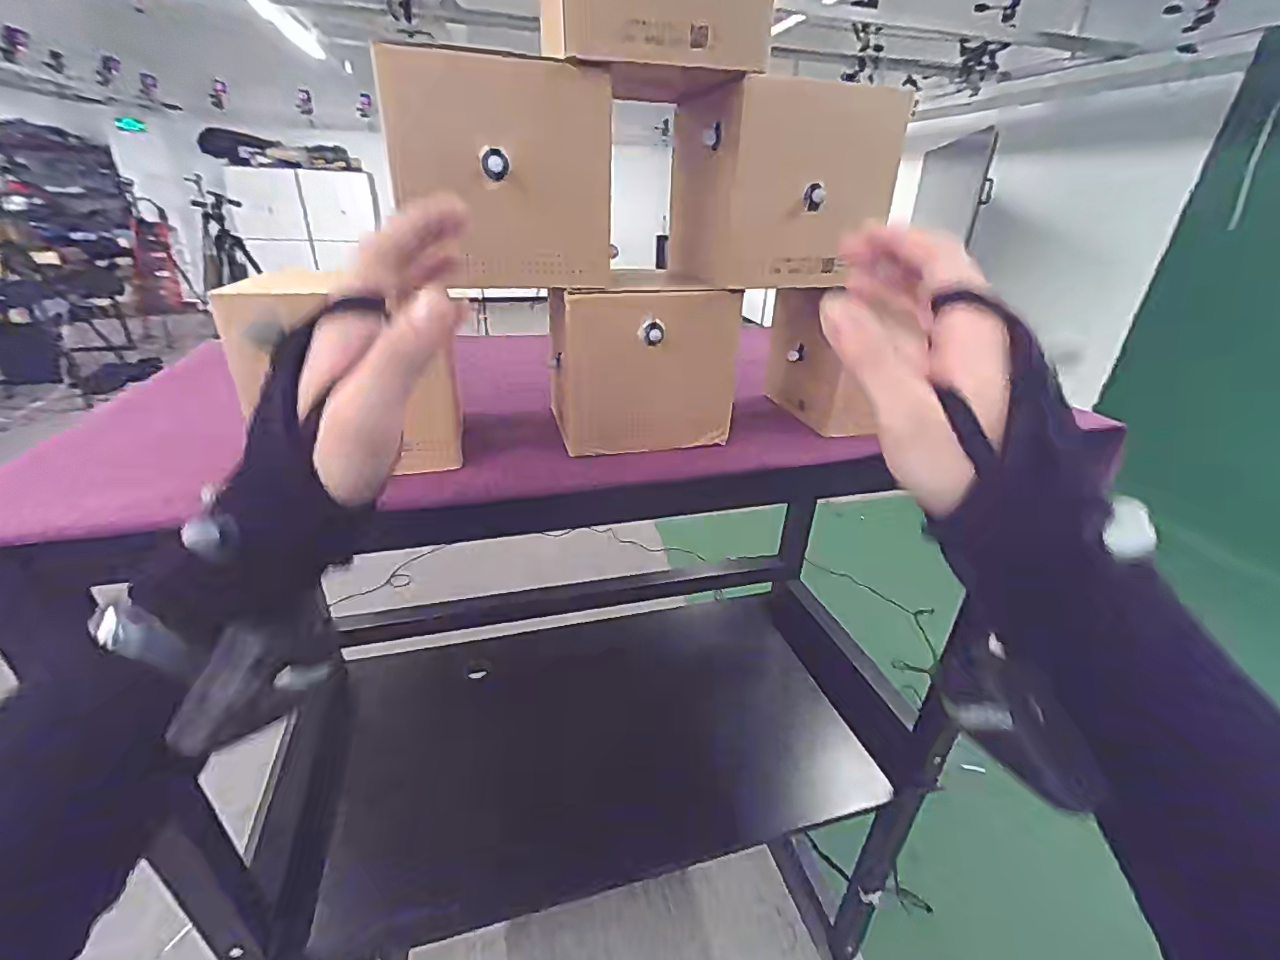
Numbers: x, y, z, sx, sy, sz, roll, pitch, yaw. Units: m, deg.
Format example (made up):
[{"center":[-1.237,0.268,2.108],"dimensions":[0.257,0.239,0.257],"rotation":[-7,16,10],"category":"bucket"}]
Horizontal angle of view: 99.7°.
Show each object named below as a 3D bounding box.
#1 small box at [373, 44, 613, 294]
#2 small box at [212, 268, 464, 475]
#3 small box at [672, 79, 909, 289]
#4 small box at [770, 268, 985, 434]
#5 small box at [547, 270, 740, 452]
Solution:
[{"center":[-0.129,-0.274,0.503],"dimensions":[0.179,0.176,0.168],"rotation":[-7,28,-15],"category":"small box"},{"center":[-0.269,-0.110,0.533],"dimensions":[0.168,0.176,0.179],"rotation":[-7,27,-15],"category":"small box"},{"center":[0.137,-0.296,0.564],"dimensions":[0.168,0.176,0.179],"rotation":[-7,28,-15],"category":"small box"},{"center":[0.276,-0.164,0.674],"dimensions":[0.179,0.176,0.168],"rotation":[-7,29,-14],"category":"small box"},{"center":[-0.005,-0.137,0.604],"dimensions":[0.179,0.176,0.168],"rotation":[-5,28,-14],"category":"small box"}]
